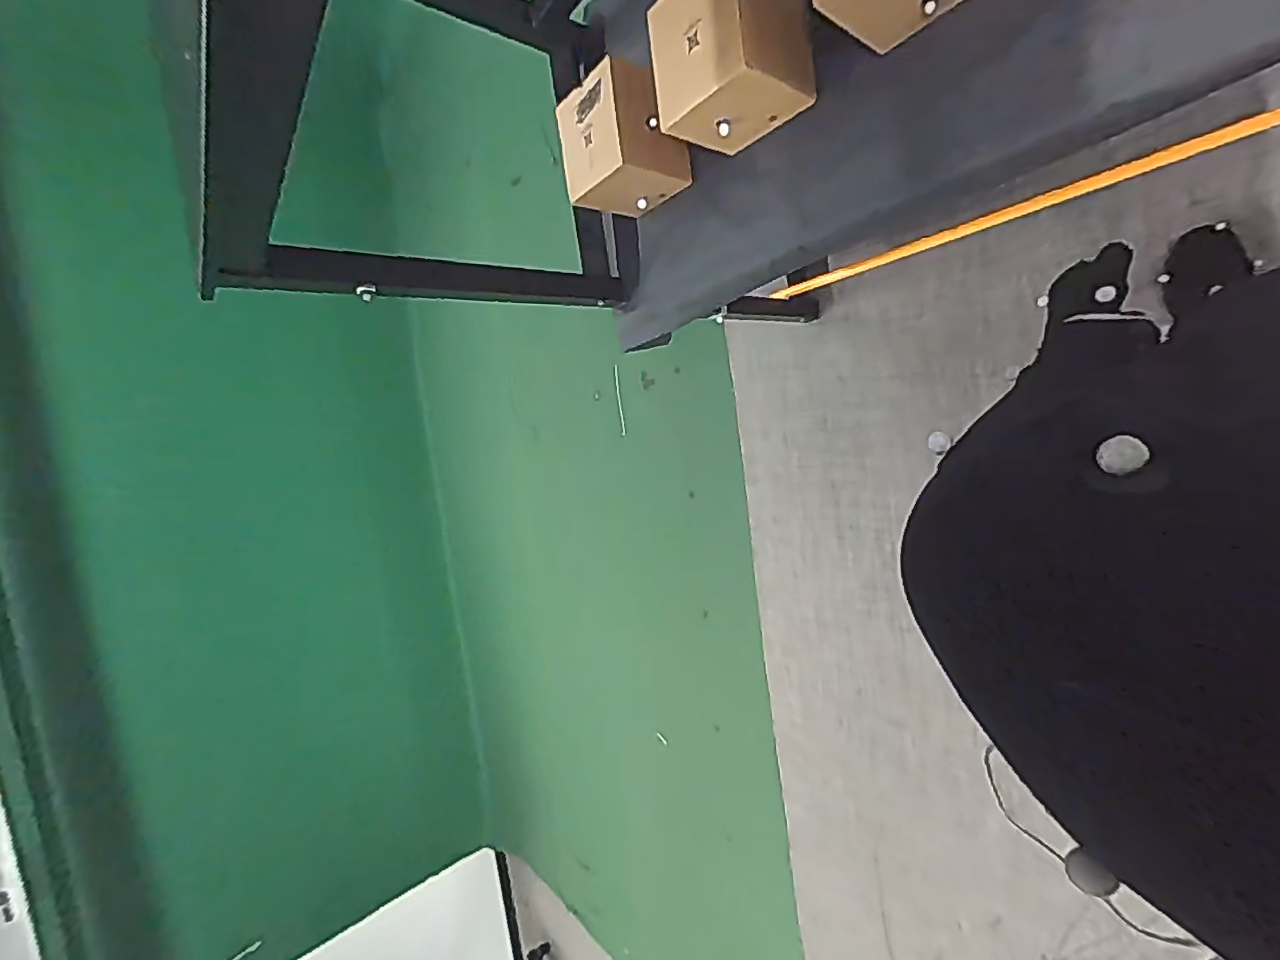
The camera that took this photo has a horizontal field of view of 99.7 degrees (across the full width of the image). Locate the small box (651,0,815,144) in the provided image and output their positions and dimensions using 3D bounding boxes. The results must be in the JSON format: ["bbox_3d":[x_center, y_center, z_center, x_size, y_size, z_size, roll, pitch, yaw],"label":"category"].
[{"bbox_3d":[0.141,-0.629,0.800,0.168,0.176,0.179,-3,97,51],"label":"small box"}]

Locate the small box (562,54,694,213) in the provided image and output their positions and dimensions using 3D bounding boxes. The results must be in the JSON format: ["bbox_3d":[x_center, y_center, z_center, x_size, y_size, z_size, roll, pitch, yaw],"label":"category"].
[{"bbox_3d":[-0.020,-0.619,0.995,0.168,0.176,0.179,-2,98,51],"label":"small box"}]
